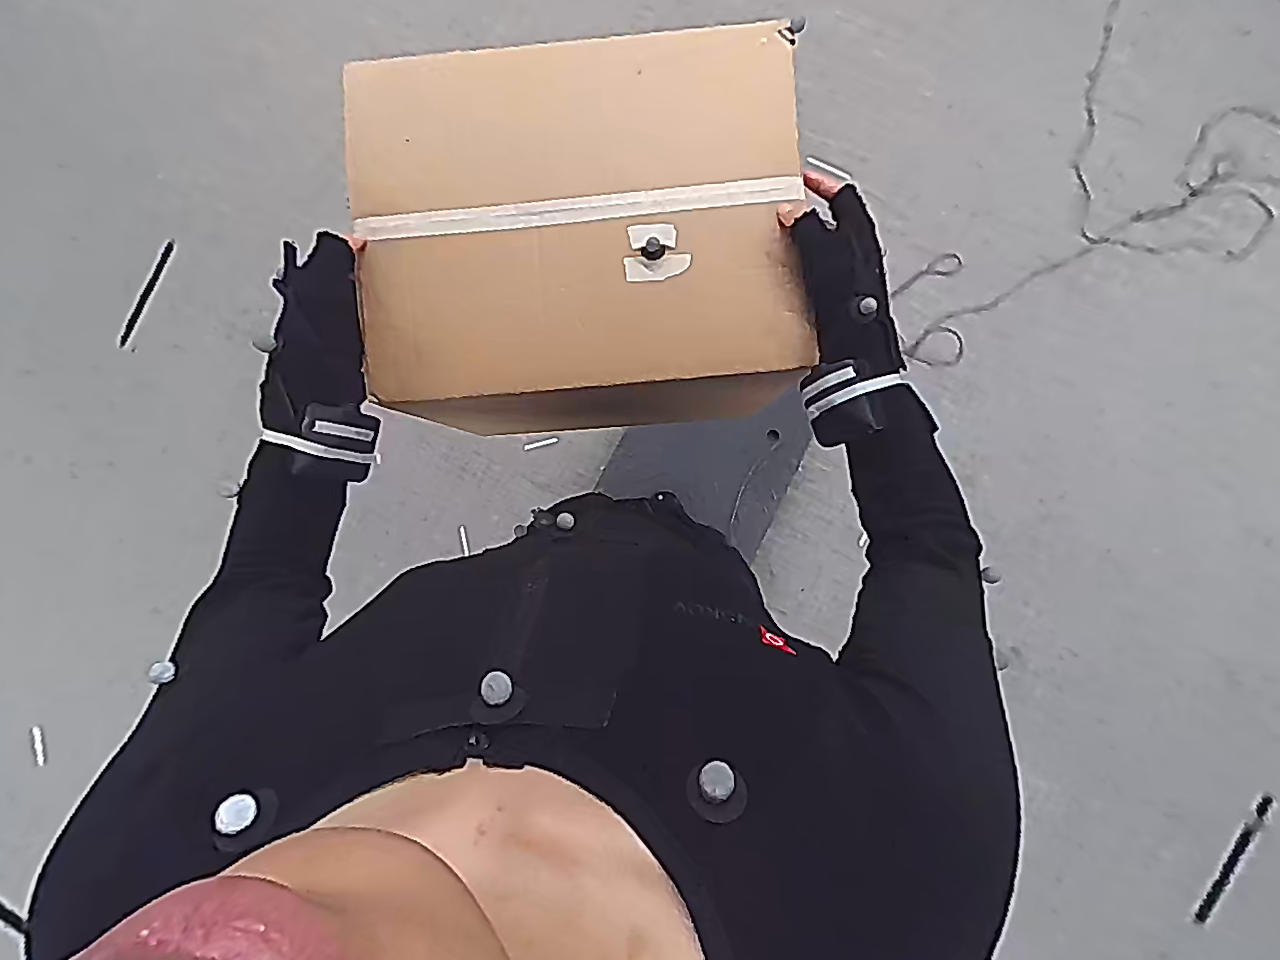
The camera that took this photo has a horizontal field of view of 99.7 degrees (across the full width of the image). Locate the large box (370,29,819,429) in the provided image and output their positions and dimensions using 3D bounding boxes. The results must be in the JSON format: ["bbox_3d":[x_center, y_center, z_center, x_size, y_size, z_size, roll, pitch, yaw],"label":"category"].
[{"bbox_3d":[-0.044,-0.245,0.646,0.408,0.320,0.320,-4,89,1],"label":"large box"}]
